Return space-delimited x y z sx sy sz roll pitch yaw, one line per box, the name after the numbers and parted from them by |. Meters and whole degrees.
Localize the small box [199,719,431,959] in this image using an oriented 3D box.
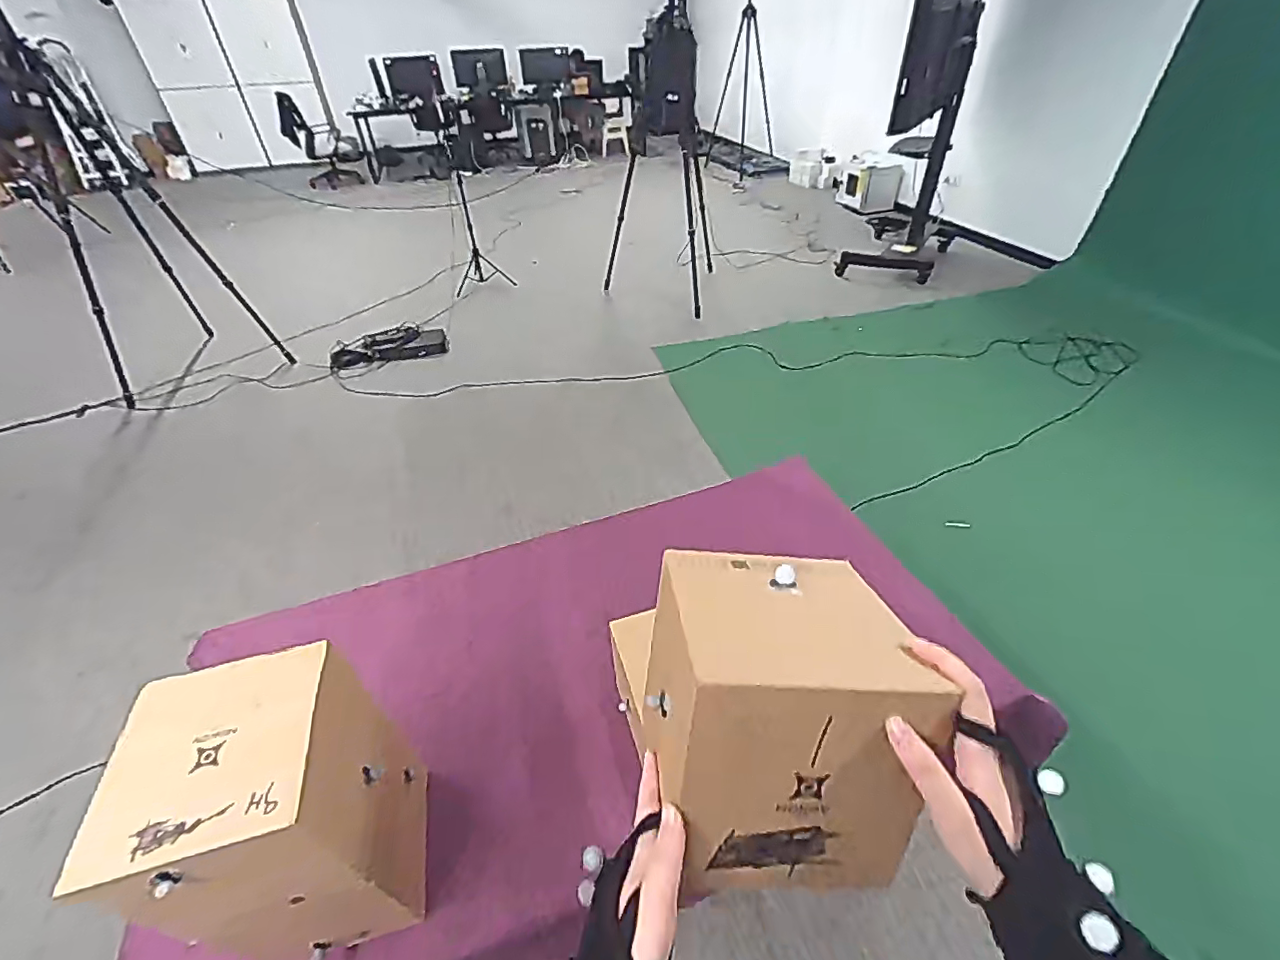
-0.353 0.419 0.631 0.168 0.176 0.179 -13 42 -10 | small box

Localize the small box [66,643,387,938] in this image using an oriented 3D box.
-0.362 0.295 0.523 0.168 0.176 0.179 -13 41 -9 | small box

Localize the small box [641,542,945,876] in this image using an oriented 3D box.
0.093 0.167 0.425 0.168 0.179 0.176 4 18 -6 | small box
